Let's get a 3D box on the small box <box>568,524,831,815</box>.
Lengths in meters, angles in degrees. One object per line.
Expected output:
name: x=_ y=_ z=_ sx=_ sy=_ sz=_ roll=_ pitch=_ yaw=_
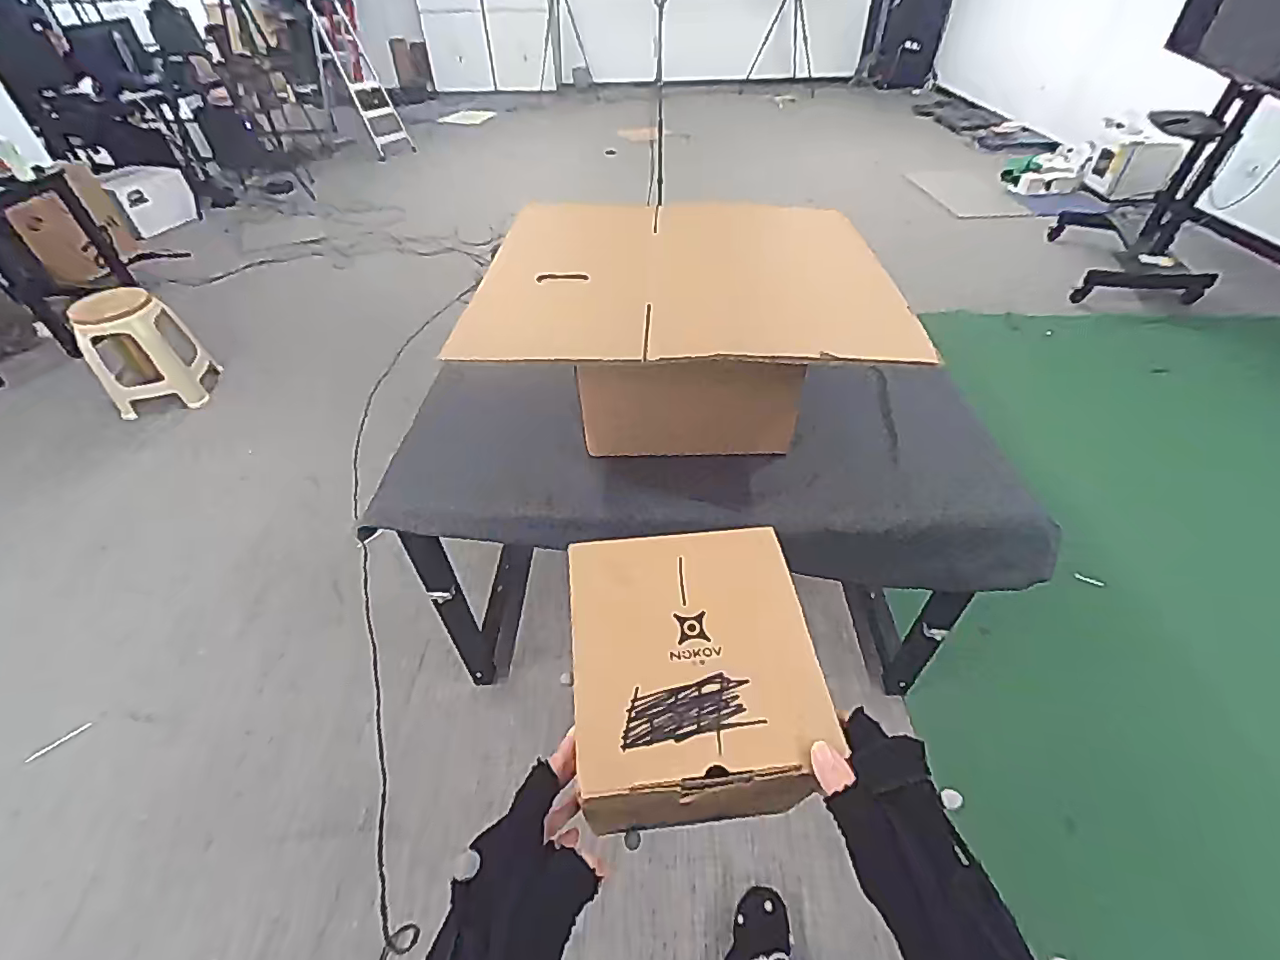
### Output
small box: x=0.032 y=0.159 z=0.443 sx=0.168 sy=0.176 sz=0.179 roll=-4 pitch=49 yaw=-5
